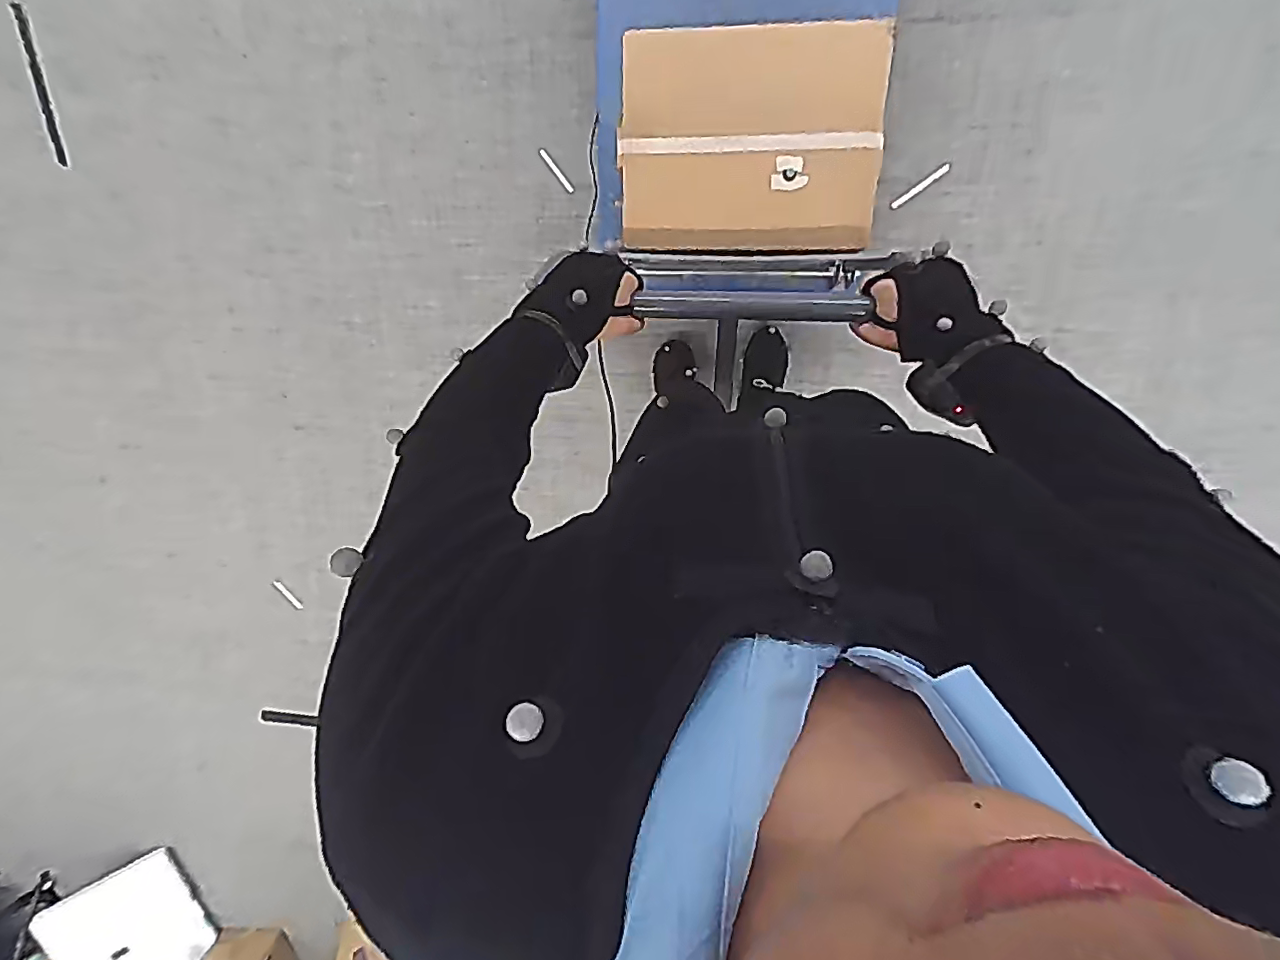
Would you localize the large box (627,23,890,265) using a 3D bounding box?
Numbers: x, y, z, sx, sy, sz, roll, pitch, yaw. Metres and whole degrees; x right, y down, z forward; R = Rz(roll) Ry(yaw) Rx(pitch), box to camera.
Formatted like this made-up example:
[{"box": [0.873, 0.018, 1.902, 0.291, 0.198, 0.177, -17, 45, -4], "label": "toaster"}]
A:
[{"box": [0.193, -0.583, 1.010, 0.408, 0.320, 0.320, 2, 109, 6], "label": "large box"}]
